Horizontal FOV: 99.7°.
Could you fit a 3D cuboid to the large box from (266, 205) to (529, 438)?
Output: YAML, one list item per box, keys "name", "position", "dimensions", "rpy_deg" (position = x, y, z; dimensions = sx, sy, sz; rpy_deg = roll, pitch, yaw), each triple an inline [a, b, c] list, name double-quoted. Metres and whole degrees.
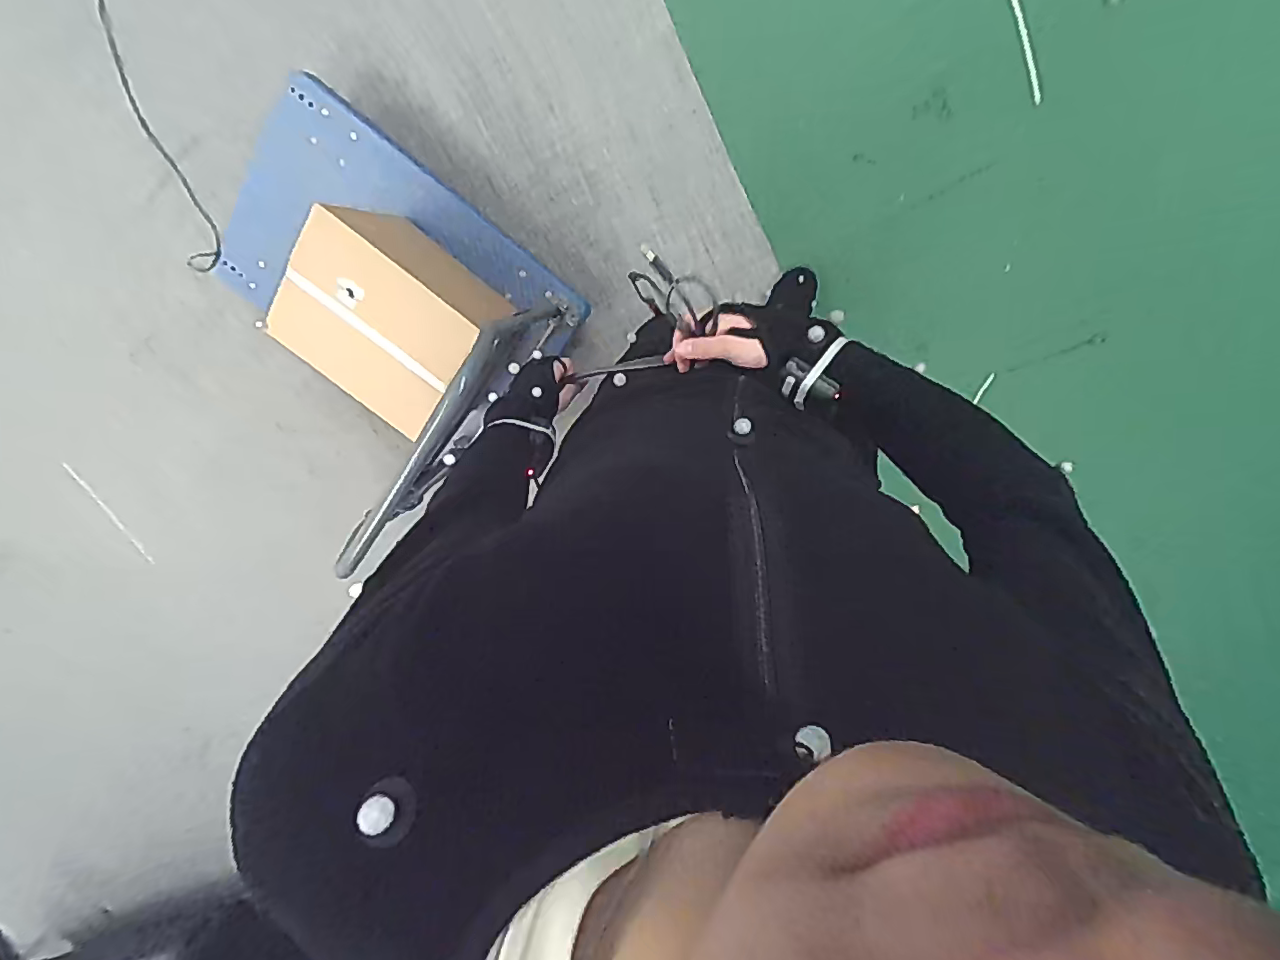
- name: "large box"
  position: [-0.543, -0.368, 1.272]
  dimensions: [0.408, 0.320, 0.320]
  rpy_deg: [38, 111, -6]
